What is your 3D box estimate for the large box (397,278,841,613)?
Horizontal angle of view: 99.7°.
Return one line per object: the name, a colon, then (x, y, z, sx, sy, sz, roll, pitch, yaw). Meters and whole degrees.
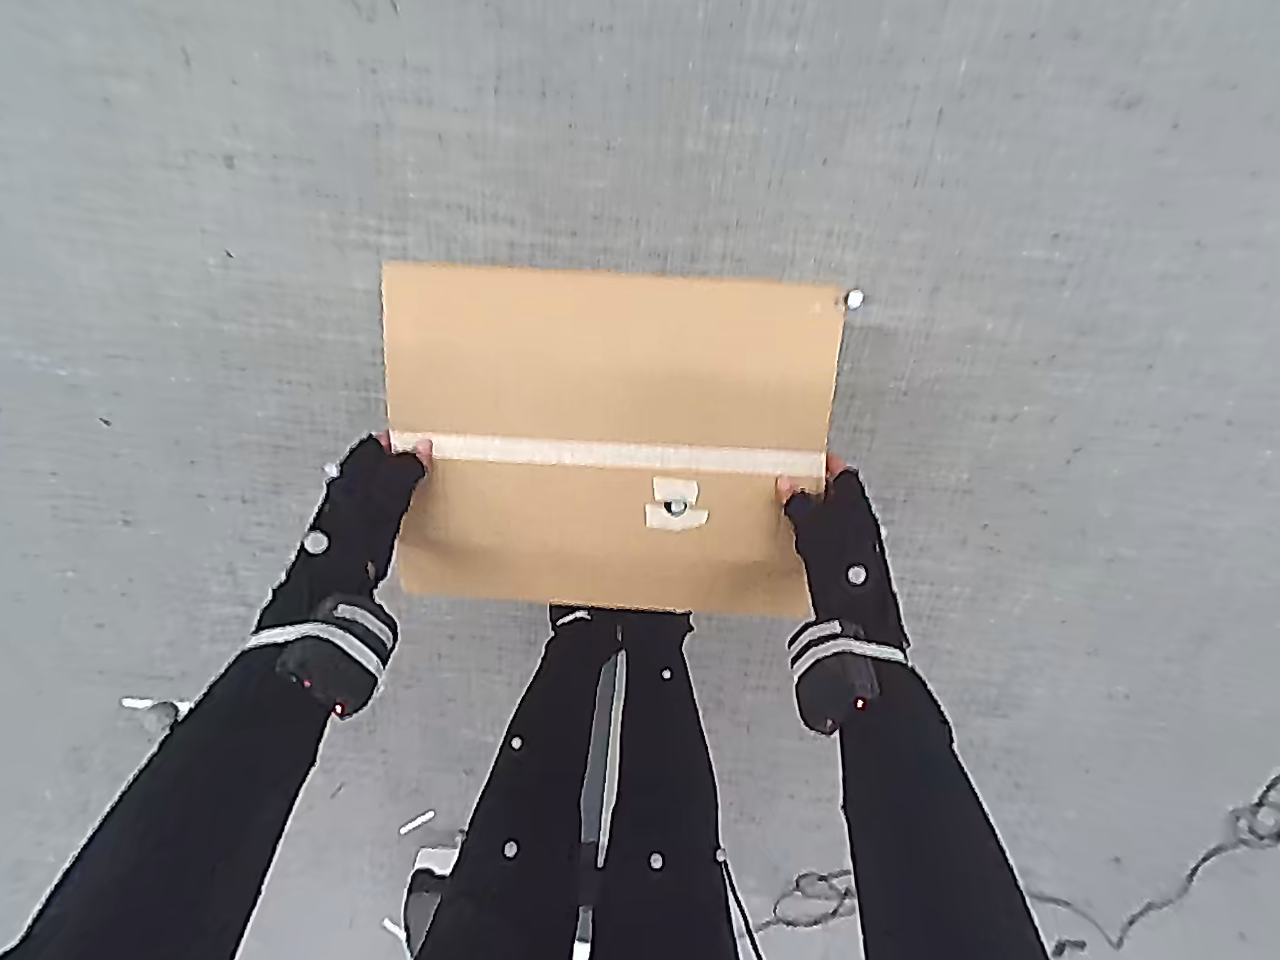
large box: (-0.024, -0.053, 0.655, 0.408, 0.320, 0.320, 3, 103, 0)
